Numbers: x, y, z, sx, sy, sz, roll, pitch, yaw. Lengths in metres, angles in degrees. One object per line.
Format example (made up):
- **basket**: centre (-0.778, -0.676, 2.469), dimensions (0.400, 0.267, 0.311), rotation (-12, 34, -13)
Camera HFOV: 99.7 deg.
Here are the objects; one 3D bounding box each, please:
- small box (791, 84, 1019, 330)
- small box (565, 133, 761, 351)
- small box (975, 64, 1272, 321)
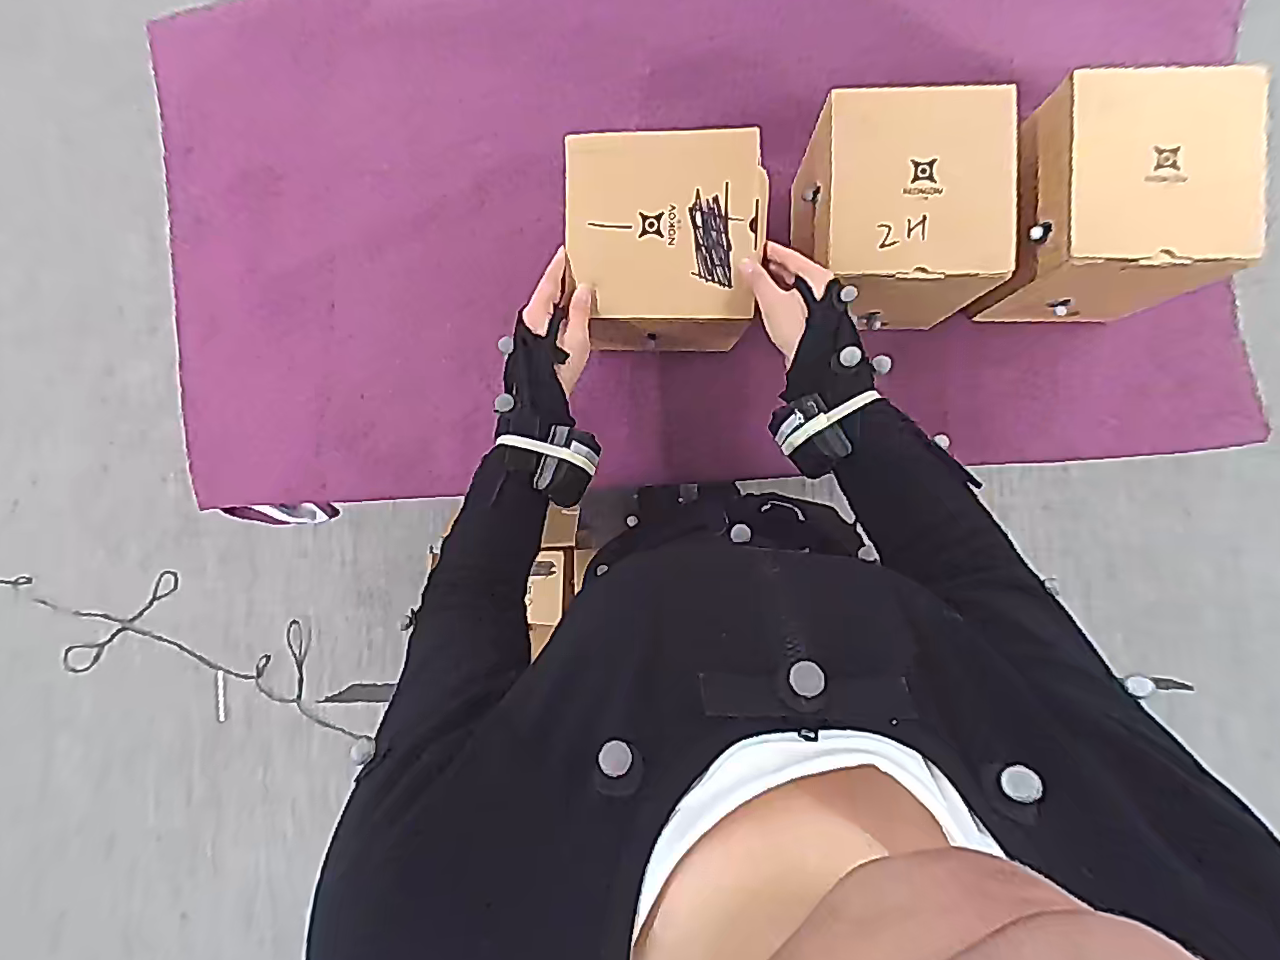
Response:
- **small box**: centre (0.259, -0.270, 0.567), dimensions (0.168, 0.176, 0.179), rotation (2, 89, 3)
- **small box**: centre (0.022, -0.233, 0.568), dimensions (0.179, 0.176, 0.168), rotation (1, 94, 3)
- **small box**: centre (0.470, -0.277, 0.555), dimensions (0.168, 0.176, 0.179), rotation (1, 89, 4)
